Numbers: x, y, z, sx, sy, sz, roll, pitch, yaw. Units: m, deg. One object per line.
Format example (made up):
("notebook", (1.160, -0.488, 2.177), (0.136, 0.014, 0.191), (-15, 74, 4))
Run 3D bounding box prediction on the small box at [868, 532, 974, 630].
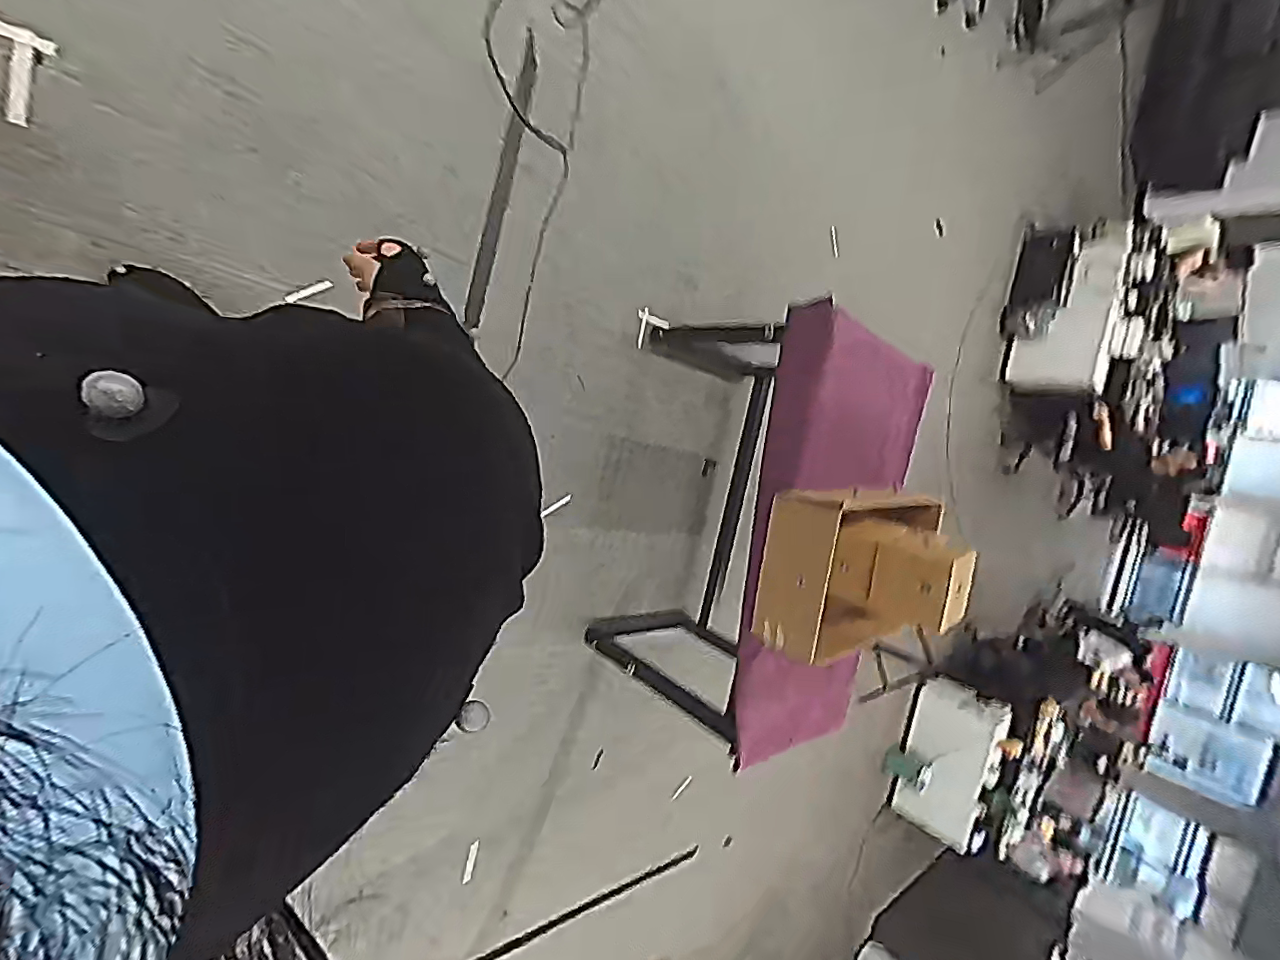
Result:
("small box", (0.671, 0.231, 1.299), (0.168, 0.176, 0.179), (-6, 106, -42))
